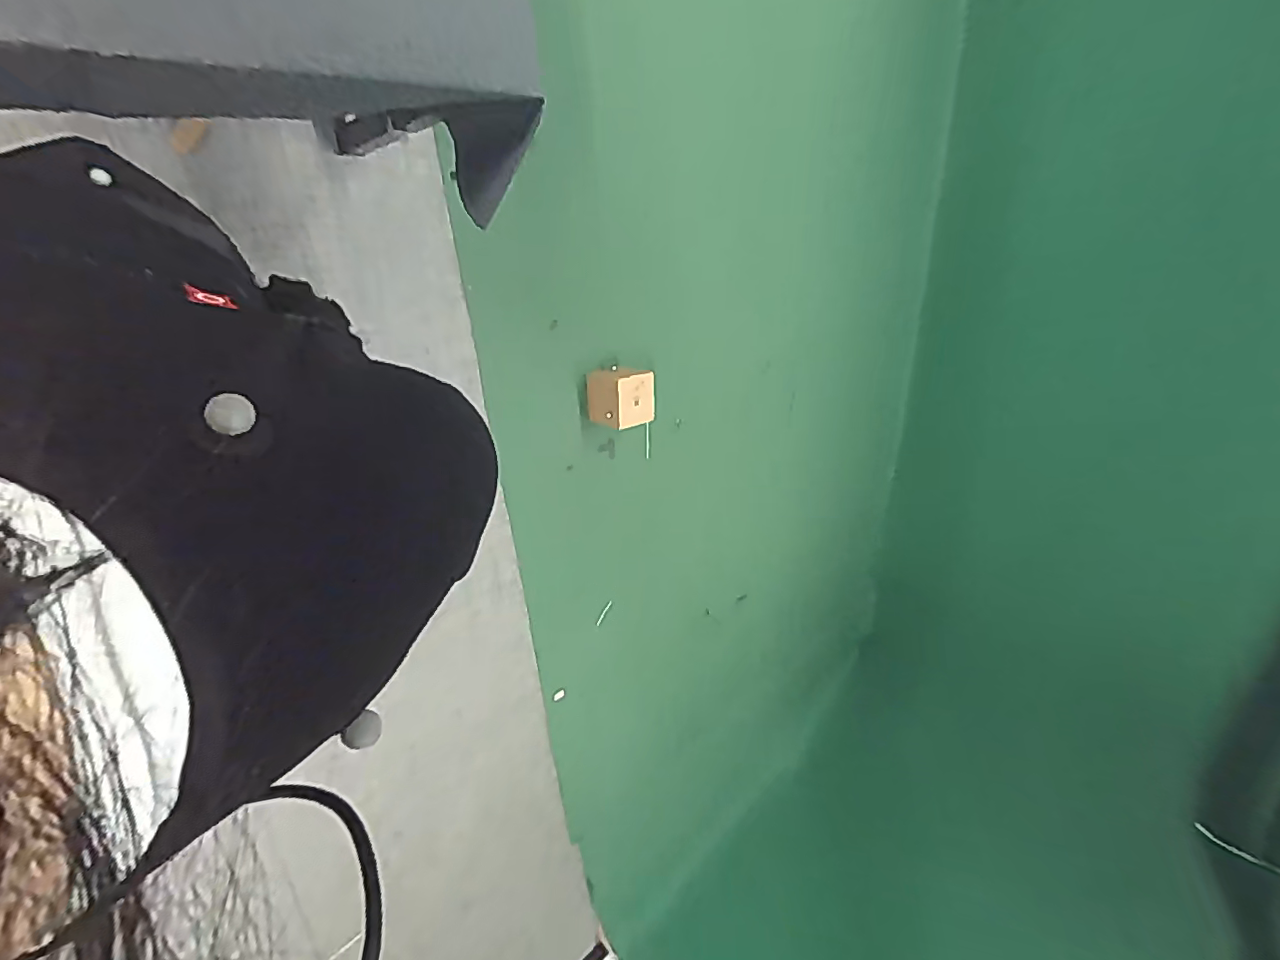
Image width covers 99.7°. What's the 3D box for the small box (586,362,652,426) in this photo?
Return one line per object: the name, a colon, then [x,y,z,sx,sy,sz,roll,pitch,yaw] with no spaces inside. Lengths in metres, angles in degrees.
small box: [-0.075,-0.305,1.889,0.168,0.176,0.179,-21,120,-39]
